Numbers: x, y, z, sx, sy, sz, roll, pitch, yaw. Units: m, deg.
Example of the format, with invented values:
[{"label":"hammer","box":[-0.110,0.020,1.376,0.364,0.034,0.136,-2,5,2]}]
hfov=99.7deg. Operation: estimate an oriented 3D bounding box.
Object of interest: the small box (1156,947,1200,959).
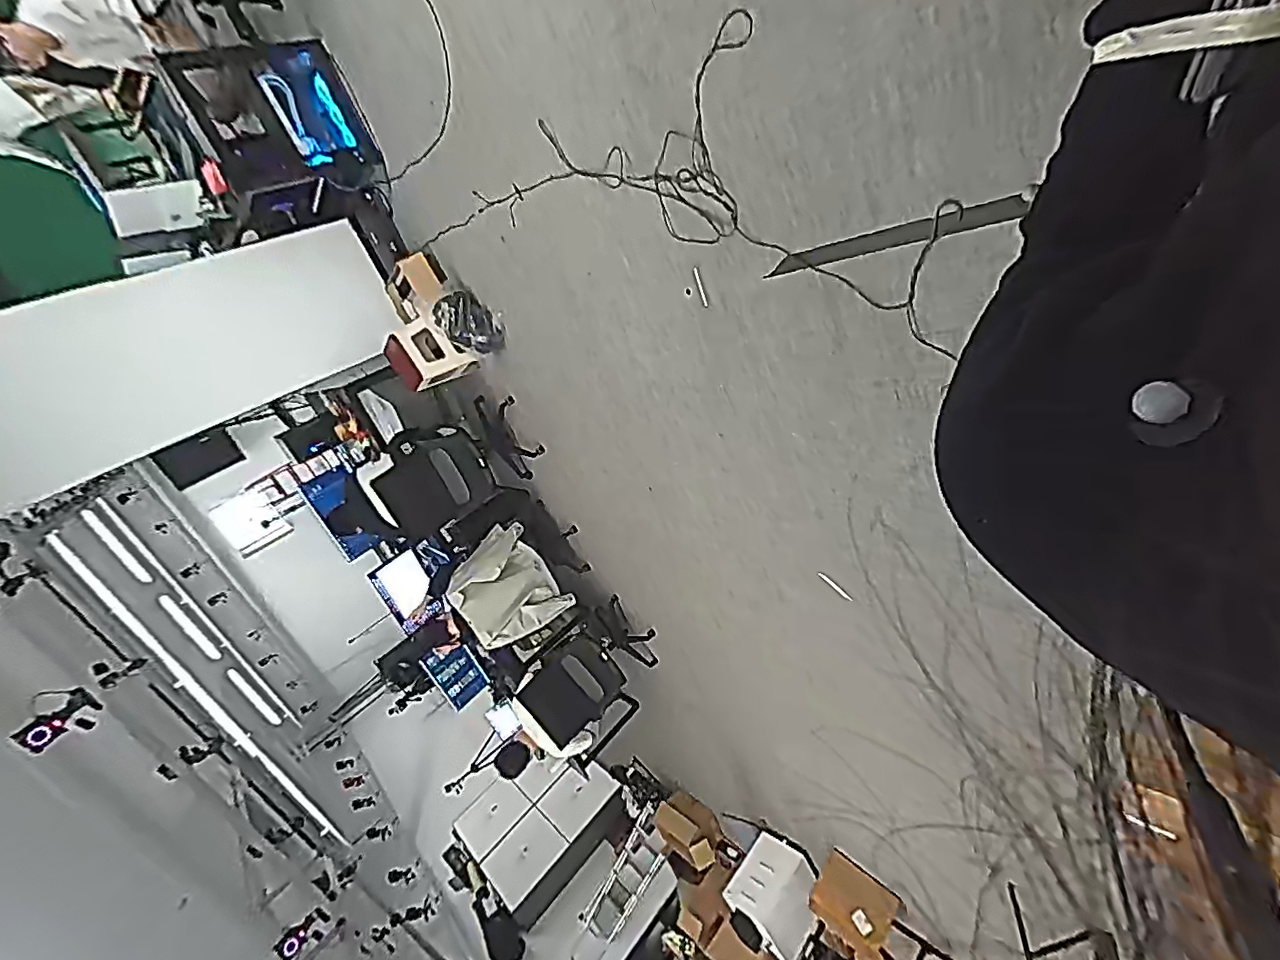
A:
[{"label":"small box","box":[1.173,1.127,1.118,0.179,0.176,0.168,11,130,47]}]

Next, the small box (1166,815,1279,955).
[{"label":"small box","box":[1.393,0.953,1.291,0.179,0.176,0.168,7,126,51]}]
